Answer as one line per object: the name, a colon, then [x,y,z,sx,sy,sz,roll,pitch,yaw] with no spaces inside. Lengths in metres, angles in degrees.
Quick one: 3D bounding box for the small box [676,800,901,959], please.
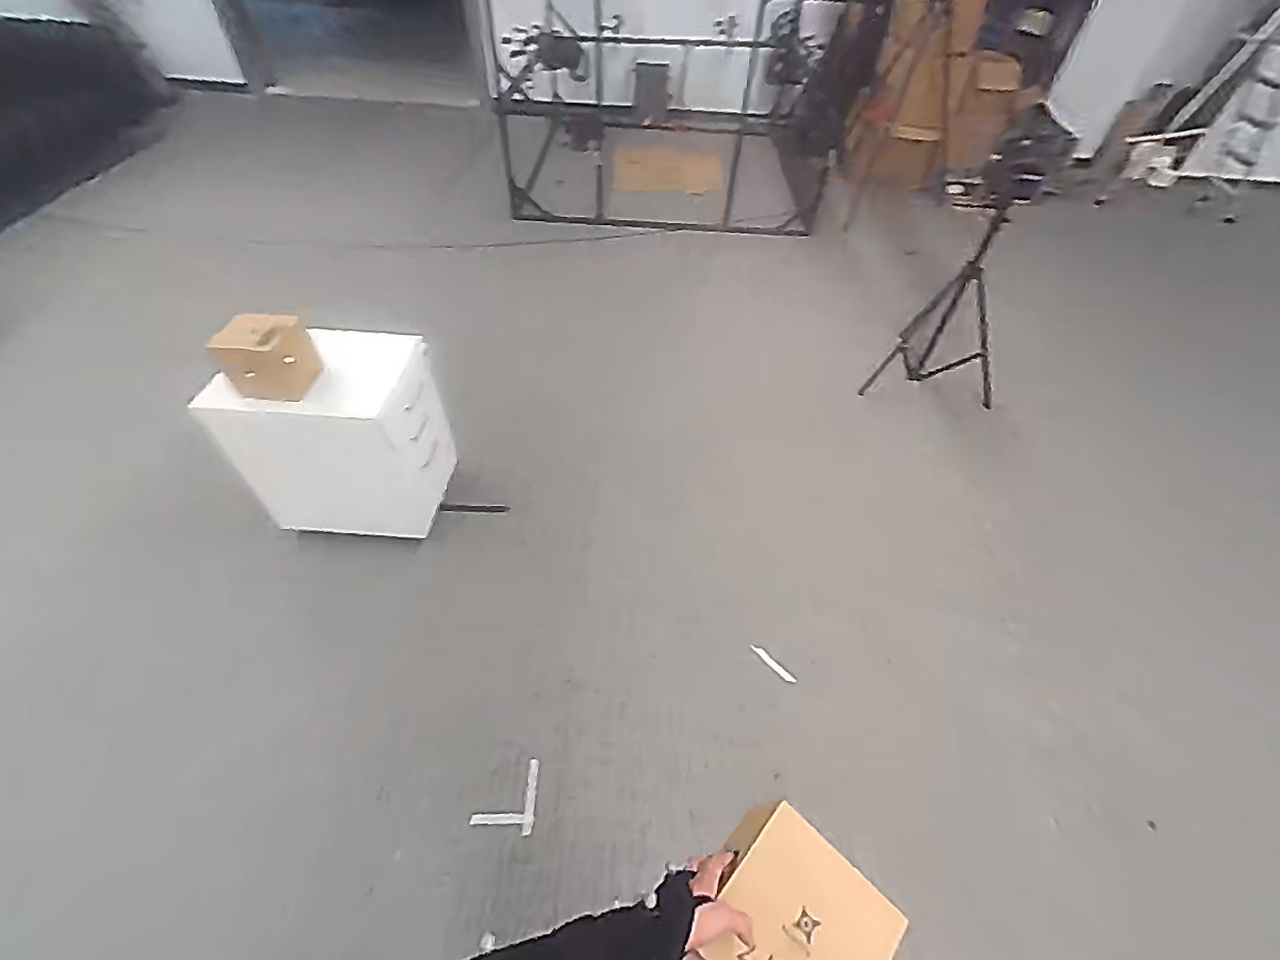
small box: [0.158,0.511,0.632,0.168,0.176,0.179,39,64,20]
